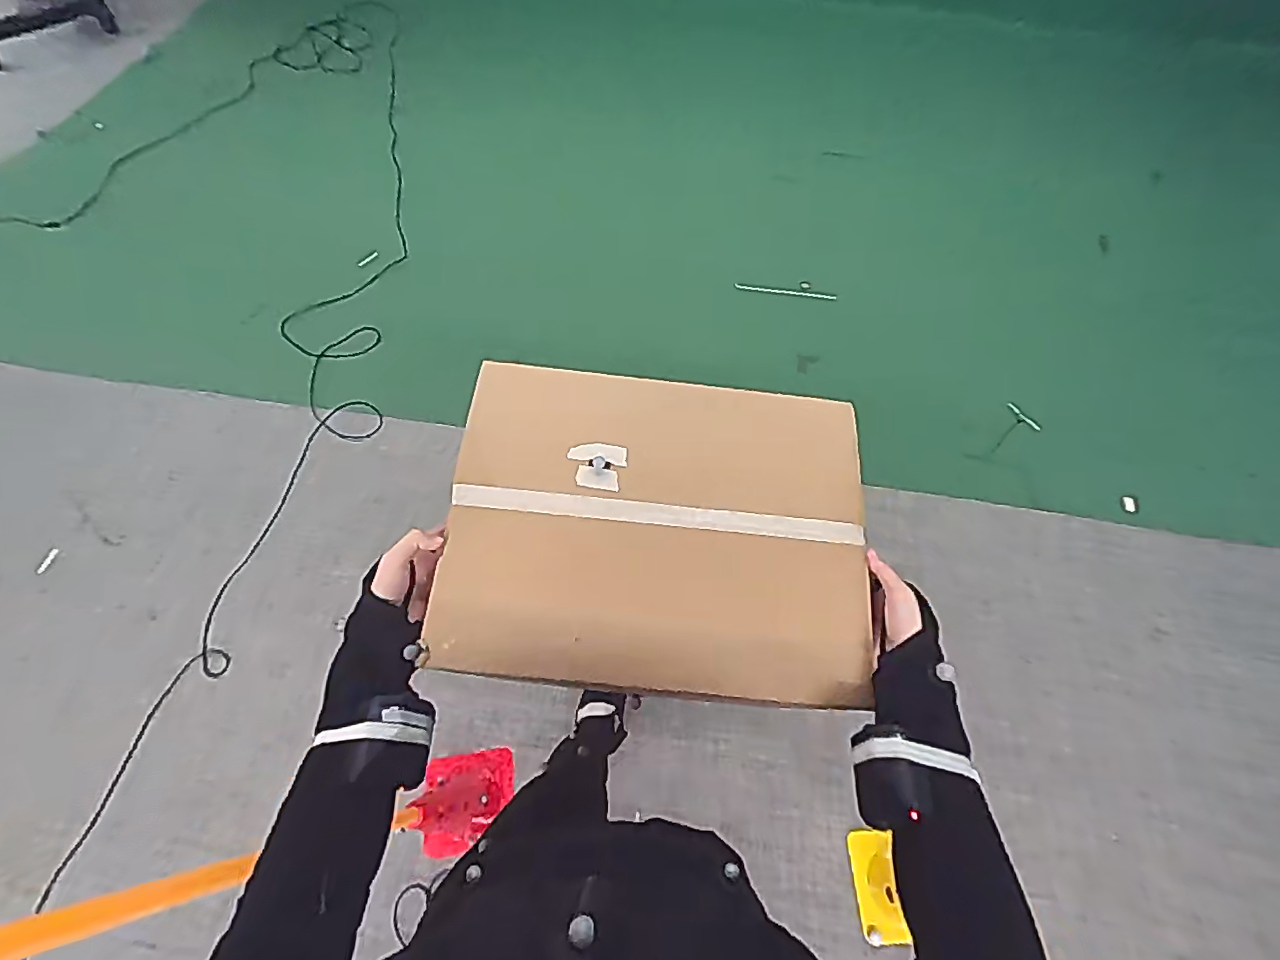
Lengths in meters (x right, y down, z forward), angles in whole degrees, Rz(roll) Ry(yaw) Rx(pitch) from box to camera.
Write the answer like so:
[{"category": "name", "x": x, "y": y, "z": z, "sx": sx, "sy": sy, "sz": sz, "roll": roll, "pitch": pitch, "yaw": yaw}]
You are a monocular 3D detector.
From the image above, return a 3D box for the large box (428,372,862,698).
[{"category": "large box", "x": 0.012, "y": 0.092, "z": 0.681, "sx": 0.408, "sy": 0.320, "sz": 0.320, "roll": 6, "pitch": 67, "yaw": -1}]
